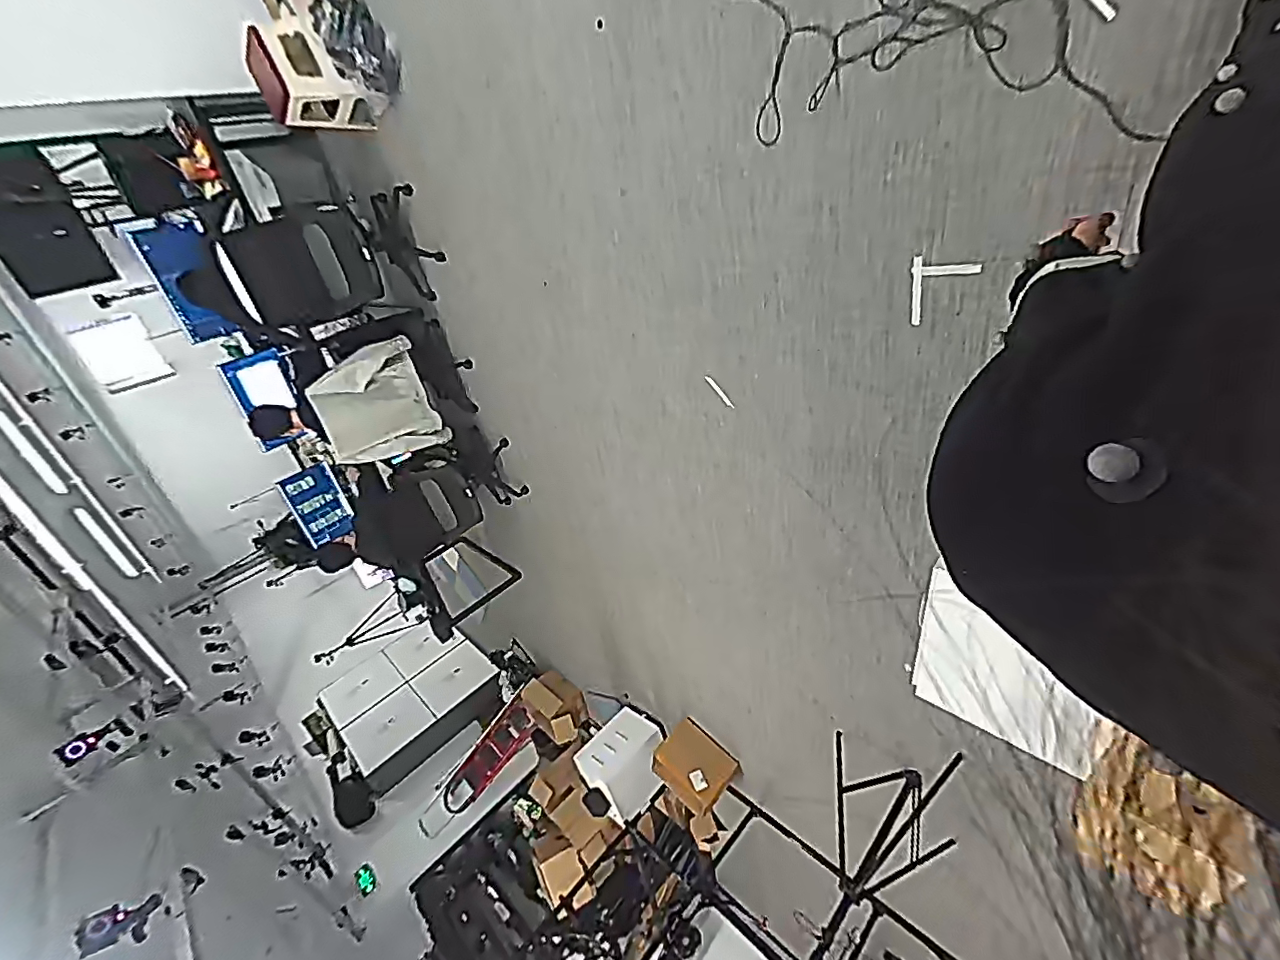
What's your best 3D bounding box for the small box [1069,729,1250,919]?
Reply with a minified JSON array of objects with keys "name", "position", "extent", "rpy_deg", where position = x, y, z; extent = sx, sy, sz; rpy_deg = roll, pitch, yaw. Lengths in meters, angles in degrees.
[{"name":"small box","position":[0.856,0.557,0.896],"extent":[0.168,0.176,0.179],"rpy_deg":[25,136,39]}]
